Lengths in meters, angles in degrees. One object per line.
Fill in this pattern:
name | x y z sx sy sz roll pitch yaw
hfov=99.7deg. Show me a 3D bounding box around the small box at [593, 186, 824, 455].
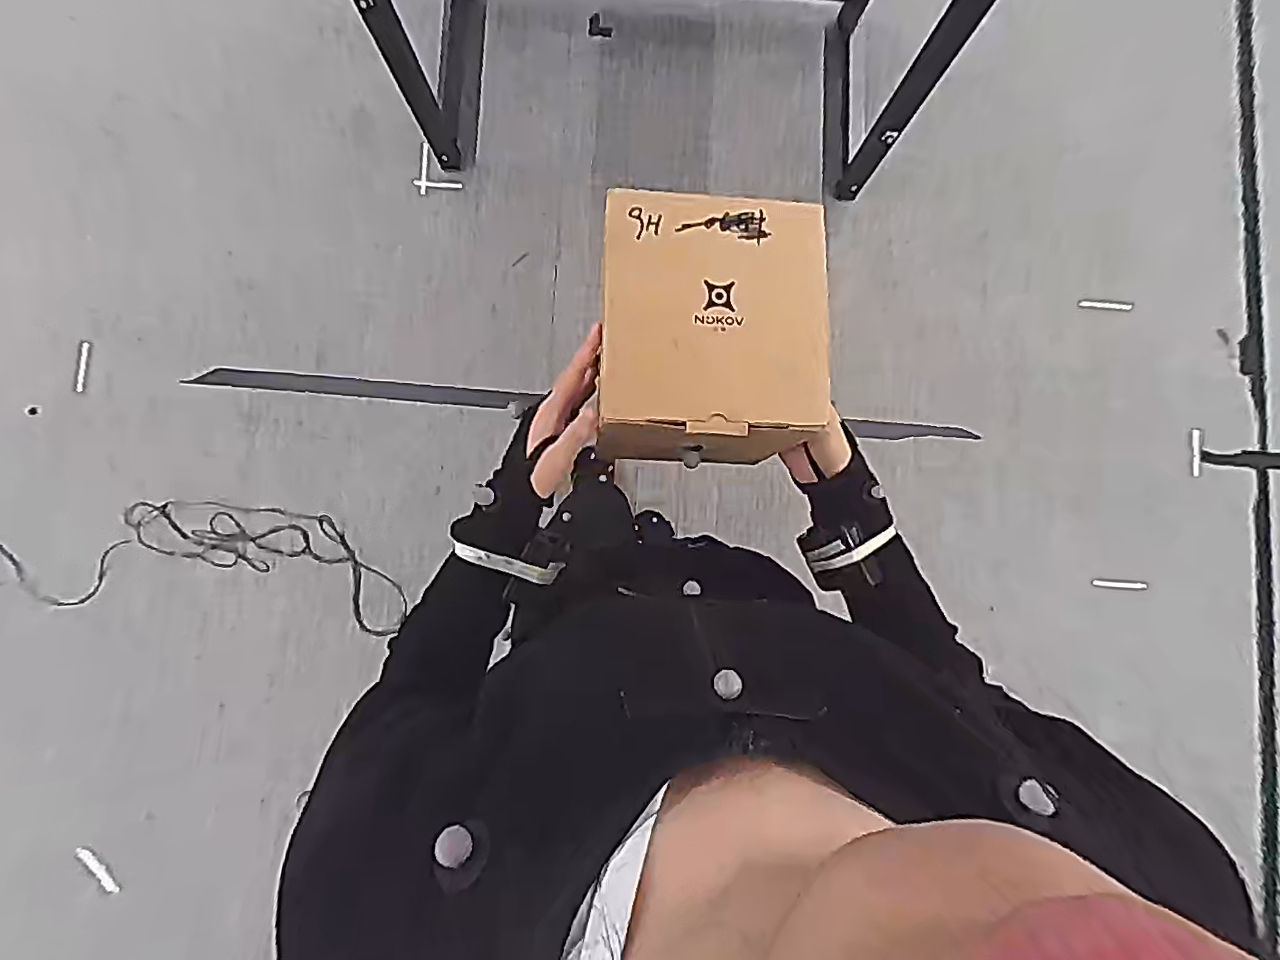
small box | 0.046 -0.118 0.473 0.168 0.176 0.179 2 84 -7
